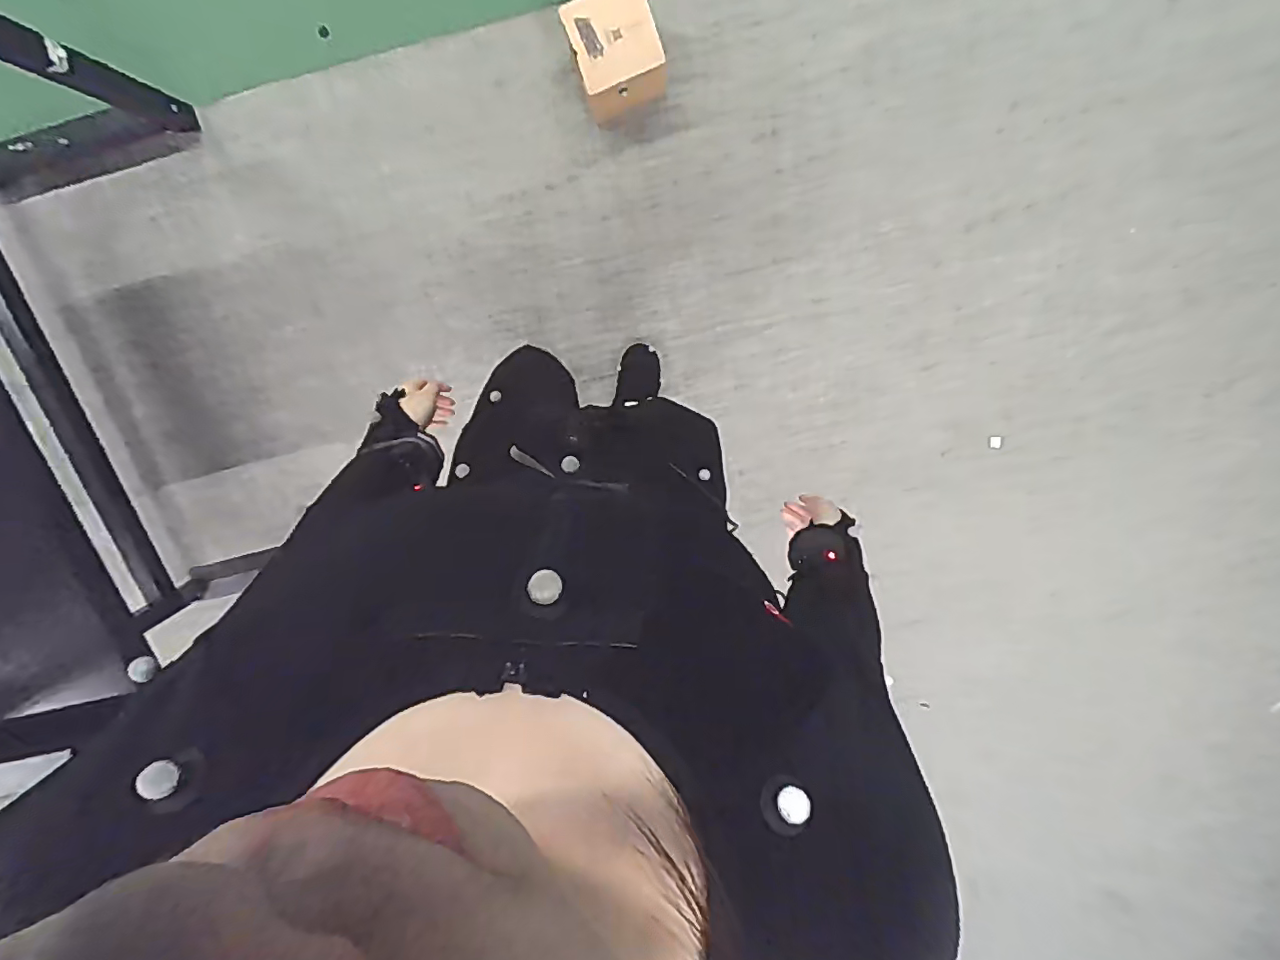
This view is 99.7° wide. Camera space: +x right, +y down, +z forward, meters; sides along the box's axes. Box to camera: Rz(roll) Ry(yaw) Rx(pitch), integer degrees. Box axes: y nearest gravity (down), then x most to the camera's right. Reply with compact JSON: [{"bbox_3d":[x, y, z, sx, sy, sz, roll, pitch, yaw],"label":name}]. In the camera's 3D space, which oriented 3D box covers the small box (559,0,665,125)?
[{"bbox_3d":[-0.054,-0.901,1.158,0.179,0.176,0.168,-20,105,5],"label":"small box"}]
